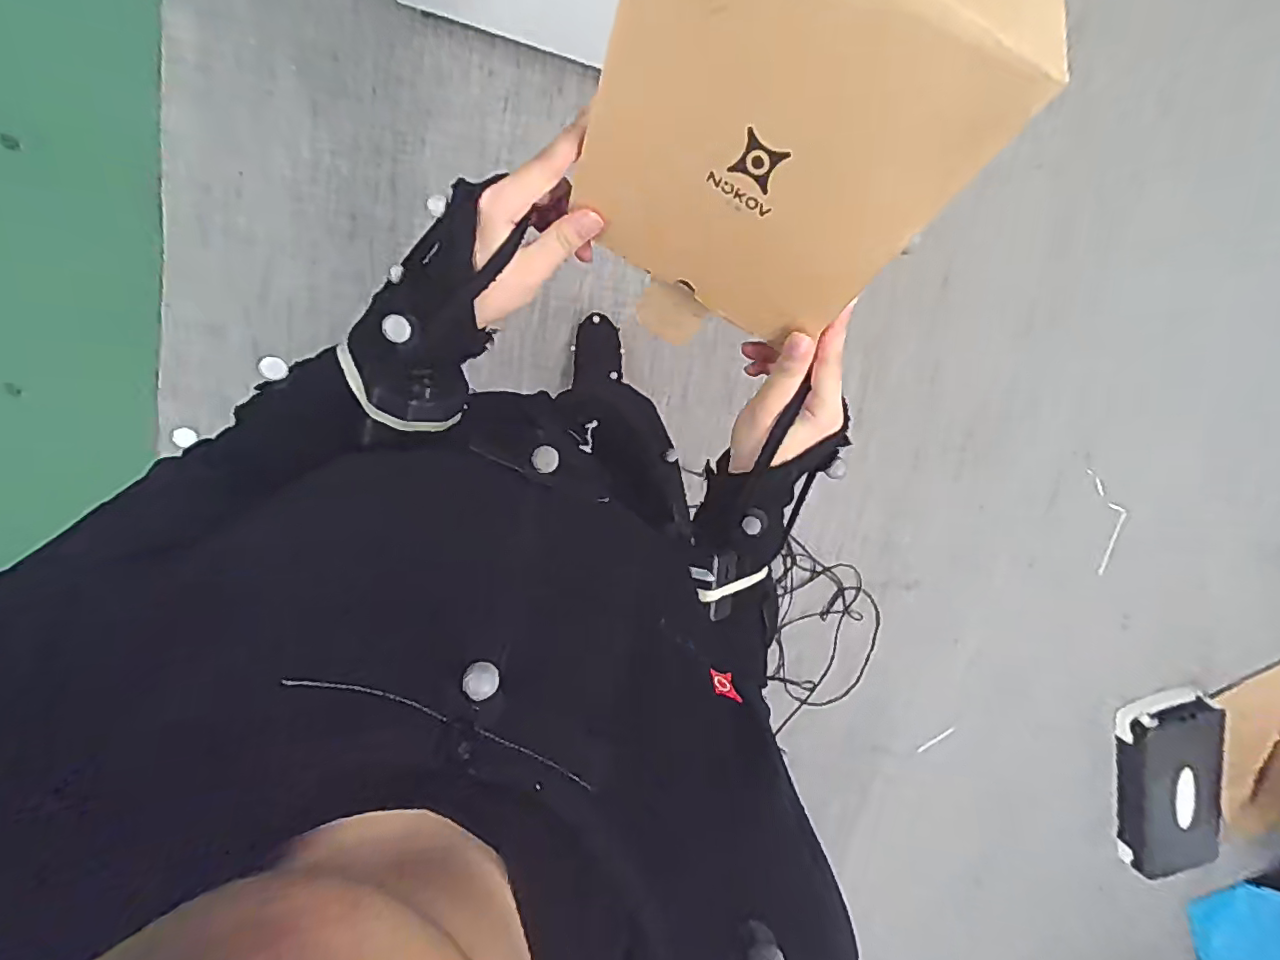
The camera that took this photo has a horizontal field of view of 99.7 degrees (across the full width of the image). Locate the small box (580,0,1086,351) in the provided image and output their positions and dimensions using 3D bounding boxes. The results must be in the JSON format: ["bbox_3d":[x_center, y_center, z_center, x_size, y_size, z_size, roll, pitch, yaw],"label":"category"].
[{"bbox_3d":[0.090,-0.215,0.296,0.168,0.179,0.176,28,61,-6],"label":"small box"}]
